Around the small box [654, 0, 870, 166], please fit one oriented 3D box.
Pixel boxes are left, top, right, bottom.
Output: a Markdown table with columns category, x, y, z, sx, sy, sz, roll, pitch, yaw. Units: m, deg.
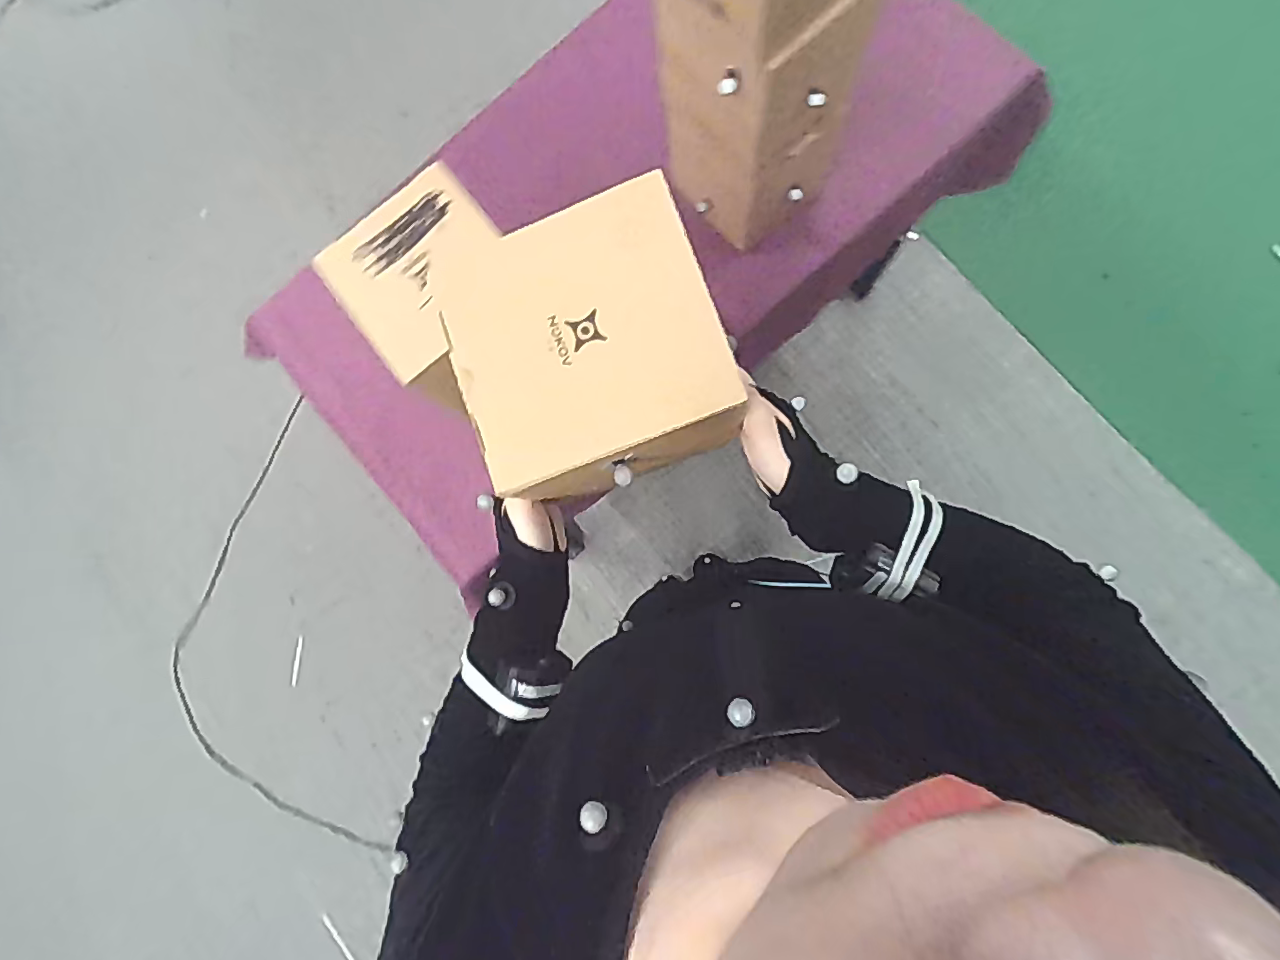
| category | x | y | z | sx | sy | sz | roll | pitch | yaw |
| --- | --- | --- | --- | --- | --- | --- | --- | --- | --- |
| small box | 0.136 | -0.503 | 0.618 | 0.168 | 0.176 | 0.179 | -41 | 81 | 0 |

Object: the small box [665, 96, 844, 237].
| category | x | y | z | sx | sy | sz | roll | pitch | yaw |
| --- | --- | --- | --- | --- | --- | --- | --- | --- | --- |
| small box | 0.155 | -0.486 | 0.781 | 0.168 | 0.176 | 0.179 | -41 | 82 | 0 |

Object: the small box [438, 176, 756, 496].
| category | x | y | z | sx | sy | sz | roll | pitch | yaw |
| --- | --- | --- | --- | --- | --- | --- | --- | --- | --- |
| small box | -0.022 | -0.091 | 0.433 | 0.179 | 0.176 | 0.168 | -20 | 84 | 7 |

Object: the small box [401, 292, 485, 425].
| category | x | y | z | sx | sy | sz | roll | pitch | yaw |
| --- | --- | --- | --- | --- | --- | --- | --- | --- | --- |
| small box | -0.195 | -0.178 | 0.779 | 0.168 | 0.176 | 0.179 | -40 | 82 | 0 |

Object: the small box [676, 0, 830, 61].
| category | x | y | z | sx | sy | sz | roll | pitch | yaw |
| --- | --- | --- | --- | --- | --- | --- | --- | --- | --- |
| small box | 0.112 | -0.524 | 0.457 | 0.179 | 0.176 | 0.168 | -41 | 80 | 1 |
